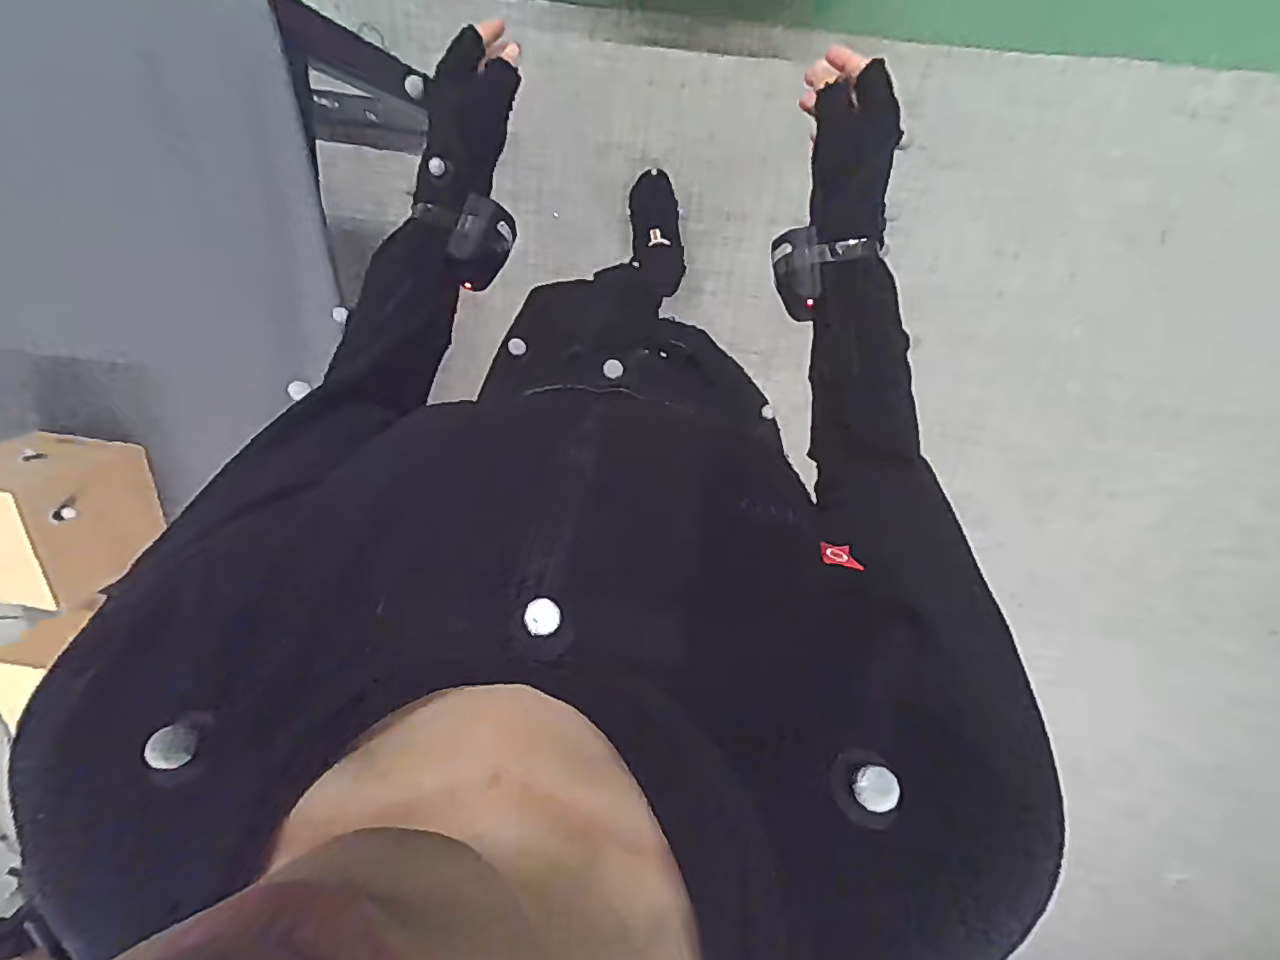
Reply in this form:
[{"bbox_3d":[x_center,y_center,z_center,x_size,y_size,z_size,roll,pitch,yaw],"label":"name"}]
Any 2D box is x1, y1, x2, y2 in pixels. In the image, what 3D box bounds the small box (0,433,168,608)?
[{"bbox_3d":[-0.815,0.046,0.746,0.168,0.176,0.179,8,115,3],"label":"small box"}]
